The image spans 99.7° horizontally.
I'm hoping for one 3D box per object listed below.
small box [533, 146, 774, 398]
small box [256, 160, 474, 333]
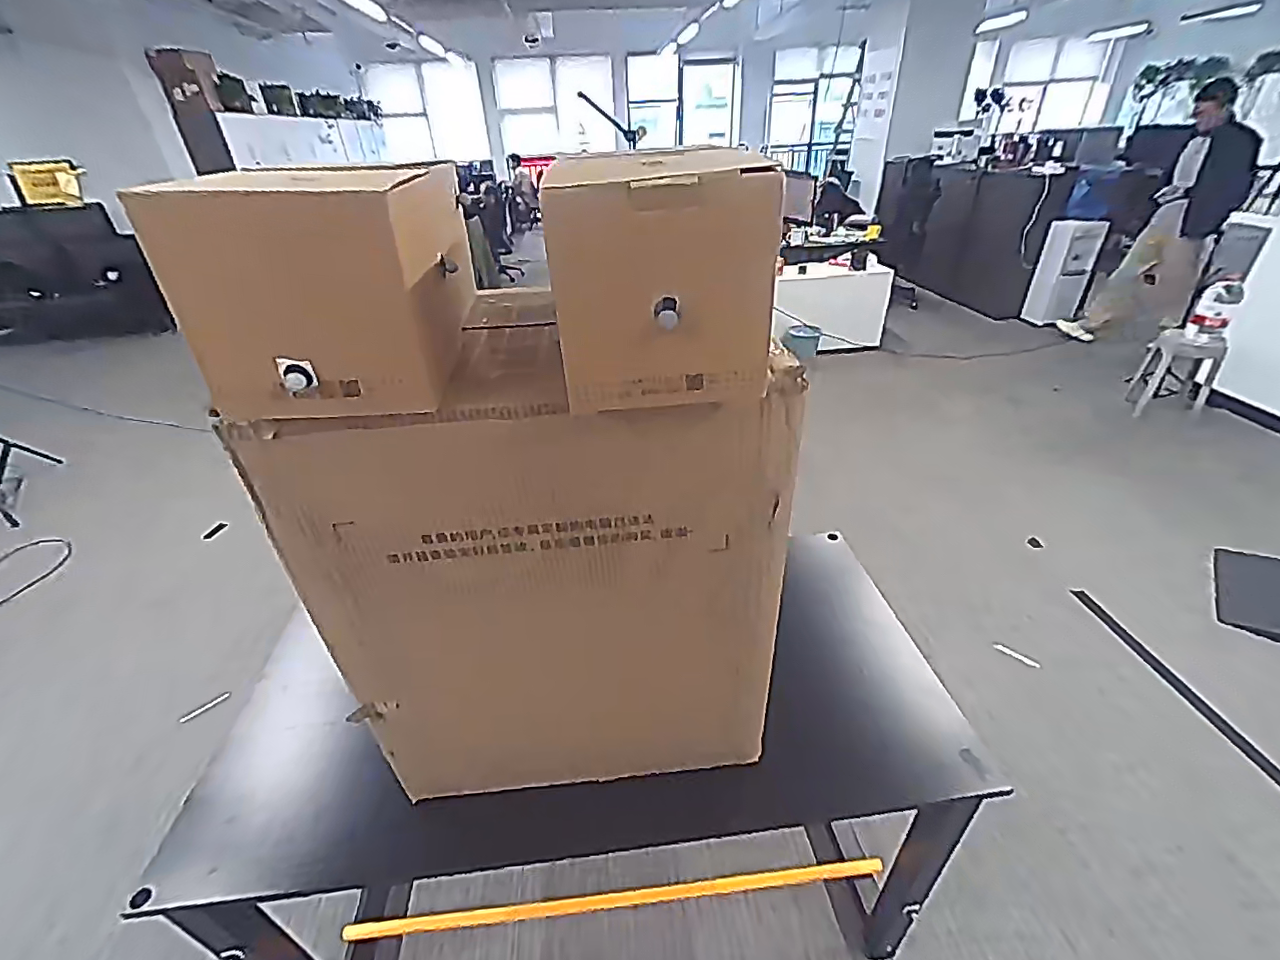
[{"bbox_3d":[0.011,-0.178,0.469,0.168,0.176,0.179,-5,35,-1],"label":"small box"},{"bbox_3d":[-0.301,-0.279,0.642,0.168,0.176,0.179,-6,31,-6],"label":"small box"}]
